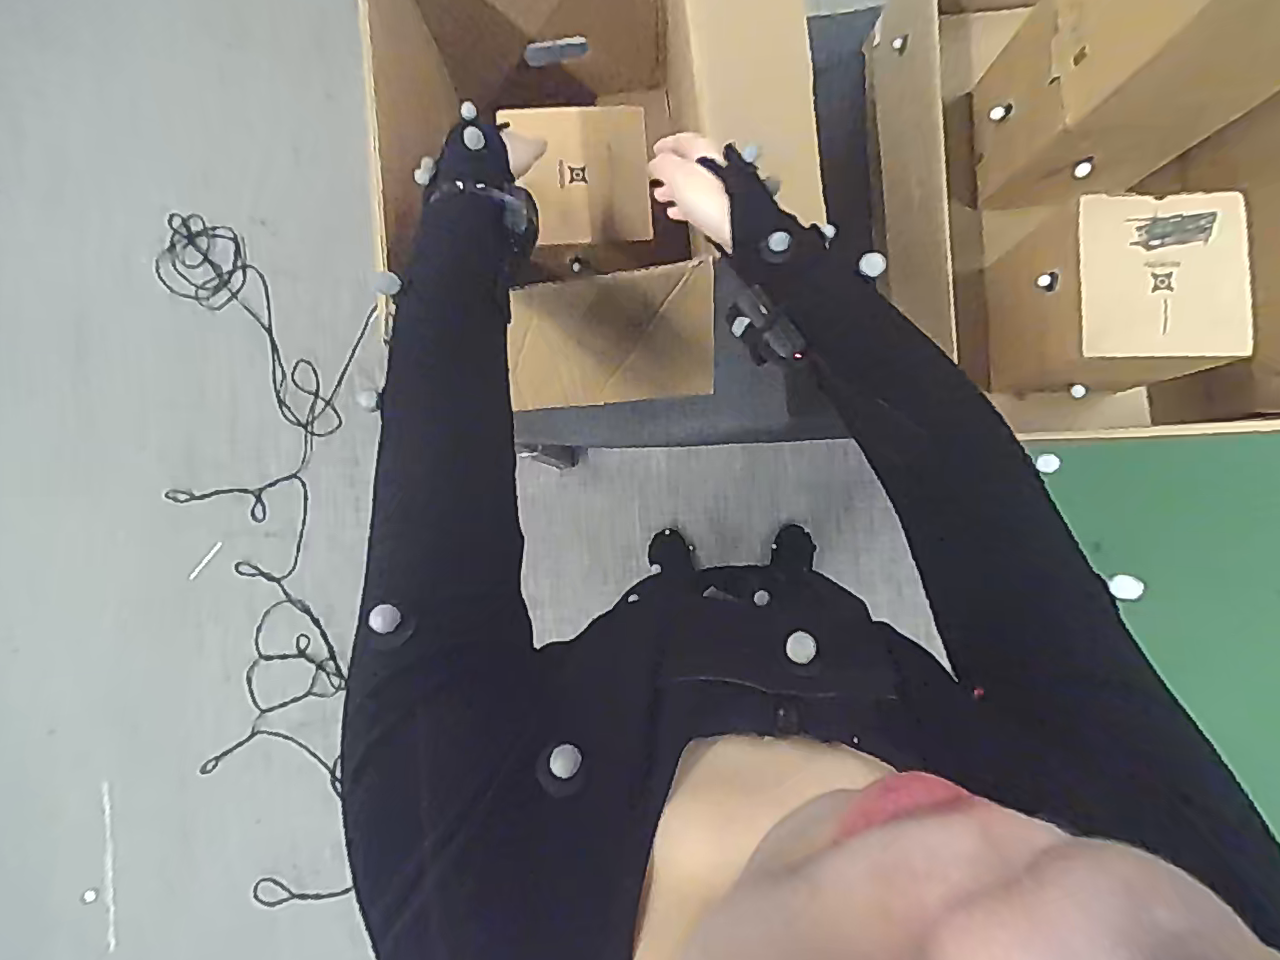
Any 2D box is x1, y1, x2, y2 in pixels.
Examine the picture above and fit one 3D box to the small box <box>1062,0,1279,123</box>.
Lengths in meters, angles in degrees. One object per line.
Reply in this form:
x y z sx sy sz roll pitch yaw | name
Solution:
0.520 -0.455 0.485 0.179 0.176 0.168 -4 89 3 | small box
